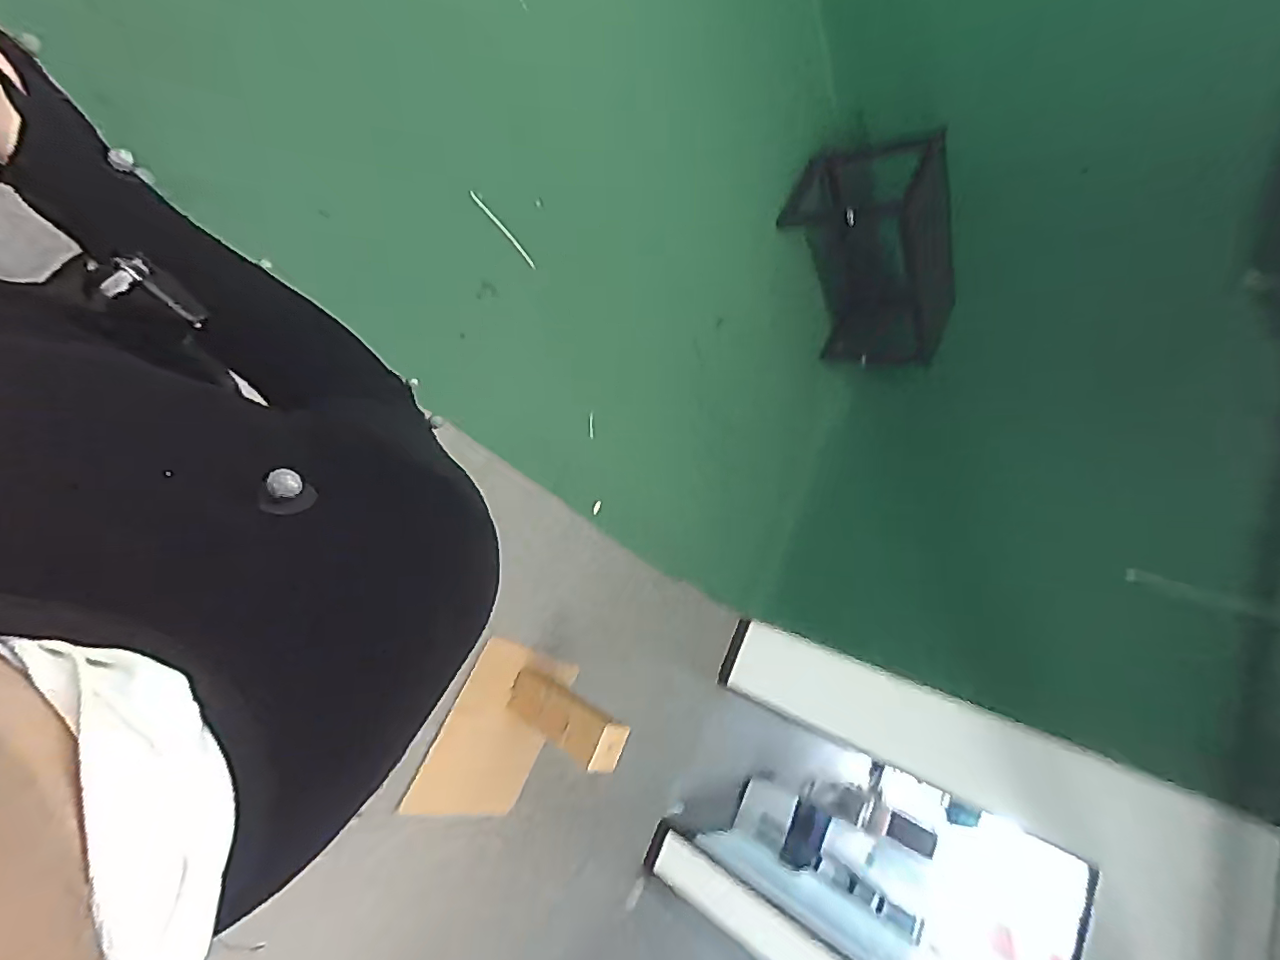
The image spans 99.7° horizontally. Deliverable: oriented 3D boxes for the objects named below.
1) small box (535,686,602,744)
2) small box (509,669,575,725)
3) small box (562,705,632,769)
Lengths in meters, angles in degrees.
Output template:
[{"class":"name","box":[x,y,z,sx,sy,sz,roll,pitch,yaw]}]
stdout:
[{"class":"small box","box":[-0.289,0.941,2.163,0.179,0.176,0.168,37,72,-50]},{"class":"small box","box":[-0.412,0.910,2.265,0.179,0.176,0.168,32,76,-50]},{"class":"small box","box":[-0.167,0.977,2.062,0.179,0.176,0.168,38,71,-50]}]
